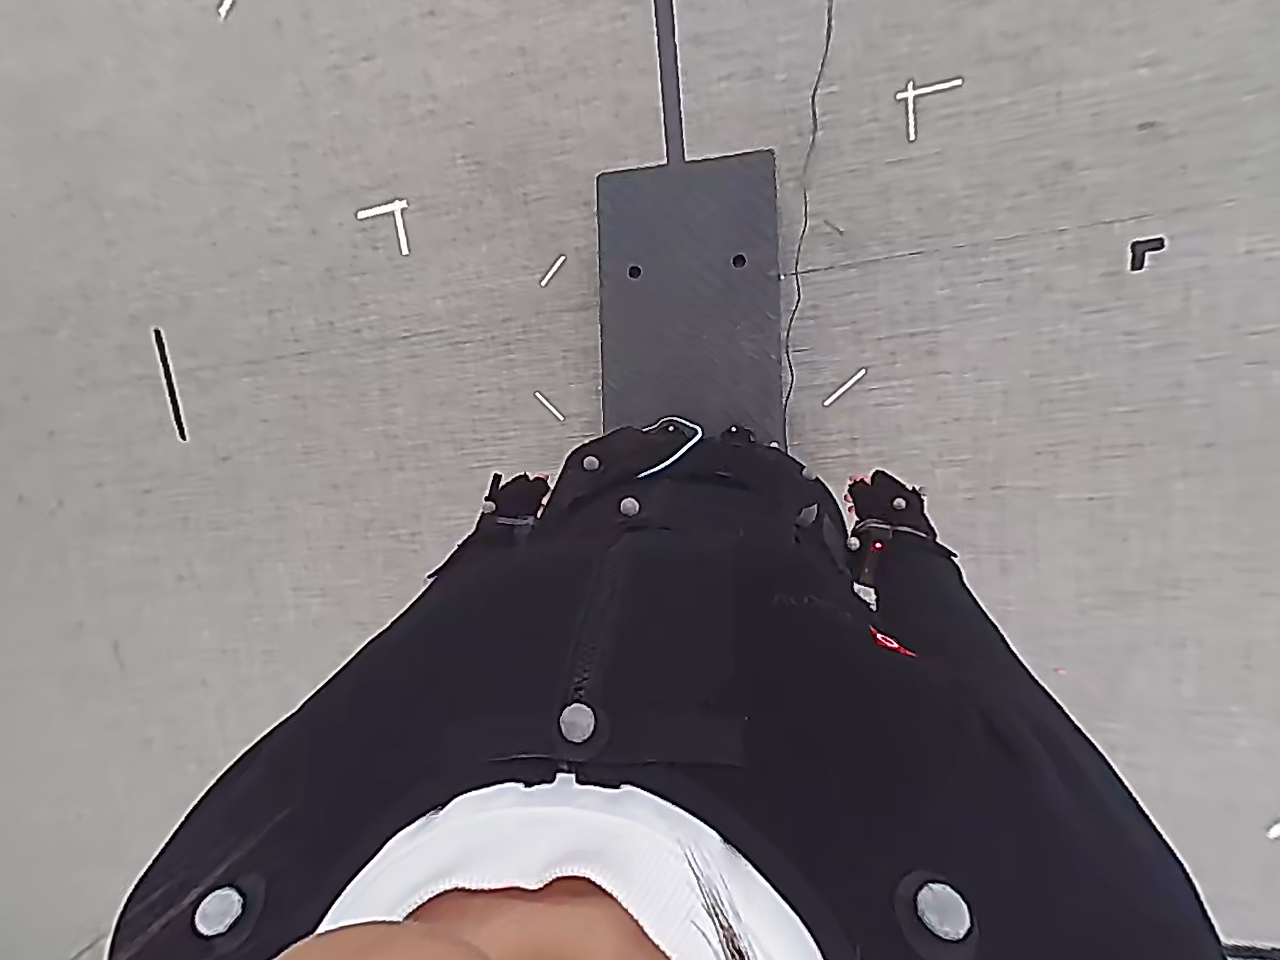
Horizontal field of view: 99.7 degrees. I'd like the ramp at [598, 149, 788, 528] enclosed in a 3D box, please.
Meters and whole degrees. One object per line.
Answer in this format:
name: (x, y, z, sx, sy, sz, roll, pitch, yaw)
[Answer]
ramp: (0.131, -0.371, 1.466, 0.509, 0.206, 0.991, -4, 98, 12)
